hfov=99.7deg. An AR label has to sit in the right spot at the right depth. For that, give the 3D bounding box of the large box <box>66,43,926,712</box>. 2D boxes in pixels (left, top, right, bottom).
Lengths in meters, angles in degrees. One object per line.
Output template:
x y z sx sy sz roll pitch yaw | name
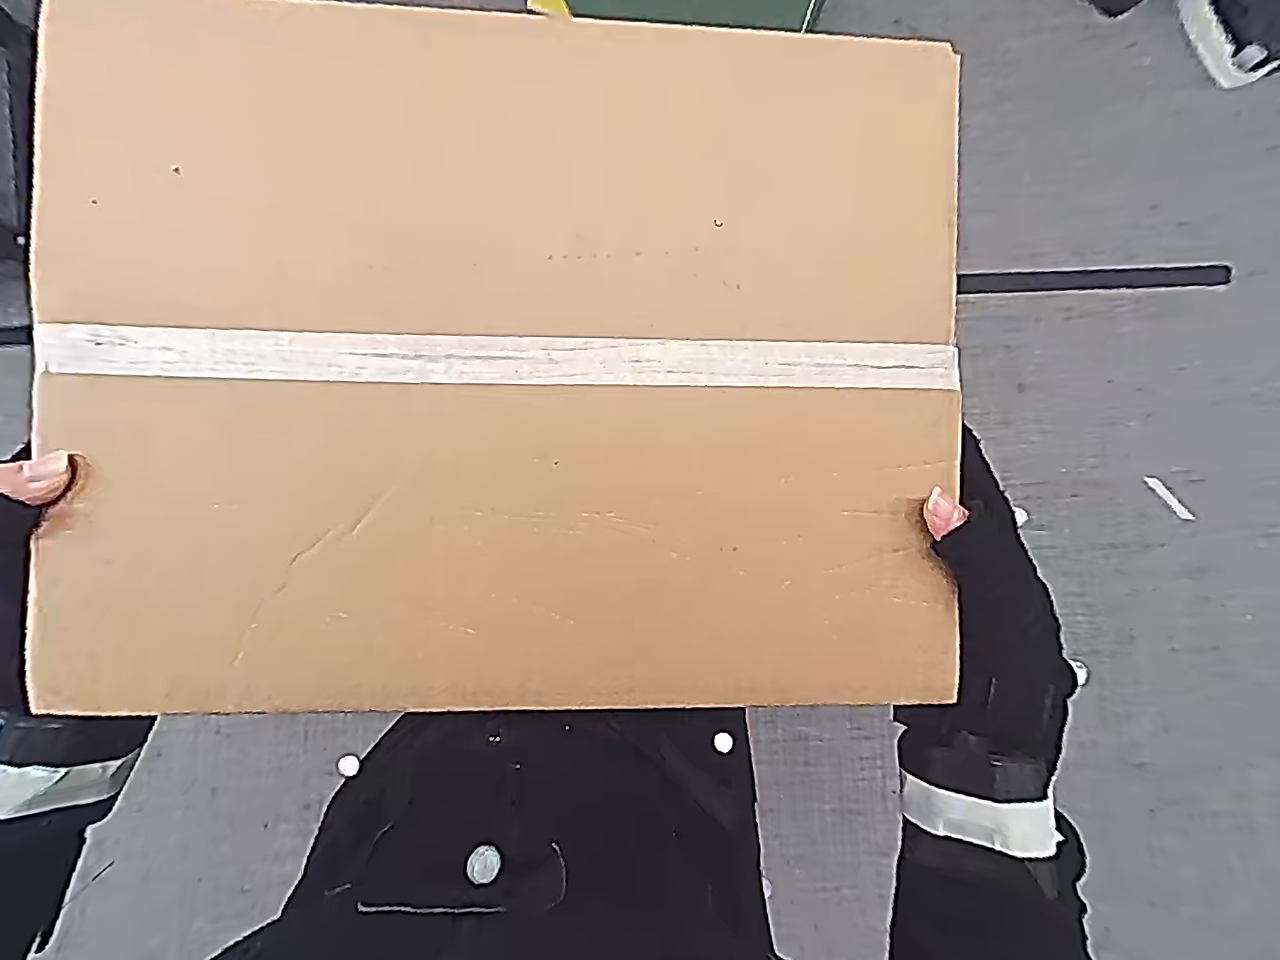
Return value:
-0.064 -0.047 0.406 0.408 0.320 0.320 1 88 -4 | large box
